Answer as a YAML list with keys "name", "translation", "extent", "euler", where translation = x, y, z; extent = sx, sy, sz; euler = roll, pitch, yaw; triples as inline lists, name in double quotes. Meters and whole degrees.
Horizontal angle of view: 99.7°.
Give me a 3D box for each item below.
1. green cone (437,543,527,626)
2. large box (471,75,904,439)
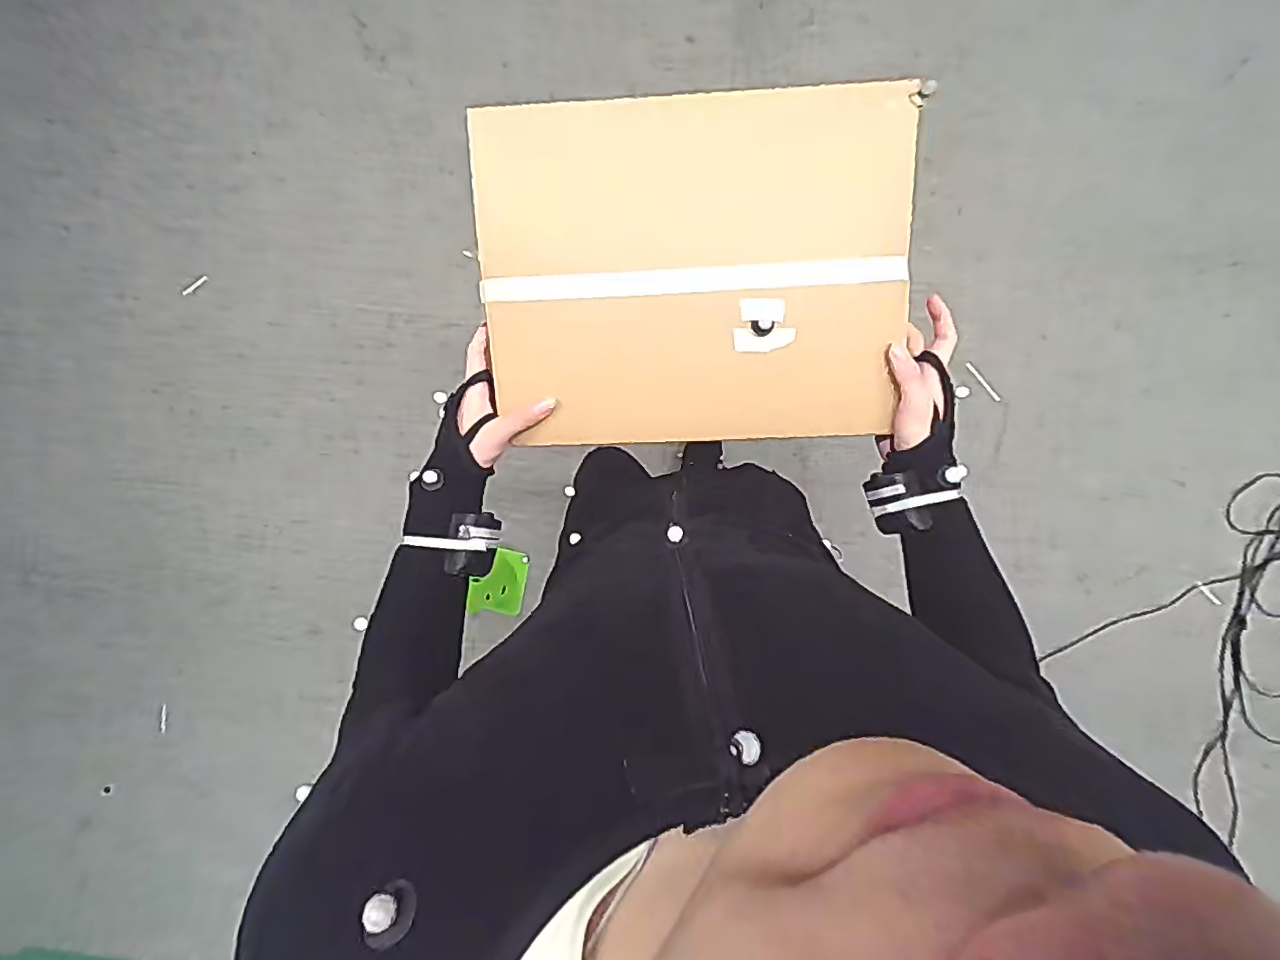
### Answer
- name: "green cone"
  translation: [-0.470, 0.320, 1.500]
  extent: [0.200, 0.368, 0.202]
  euler: [12, 95, 3]
- name: "large box"
  translation: [0.052, -0.235, 0.669]
  extent: [0.408, 0.320, 0.320]
  euler: [-3, 103, 2]
